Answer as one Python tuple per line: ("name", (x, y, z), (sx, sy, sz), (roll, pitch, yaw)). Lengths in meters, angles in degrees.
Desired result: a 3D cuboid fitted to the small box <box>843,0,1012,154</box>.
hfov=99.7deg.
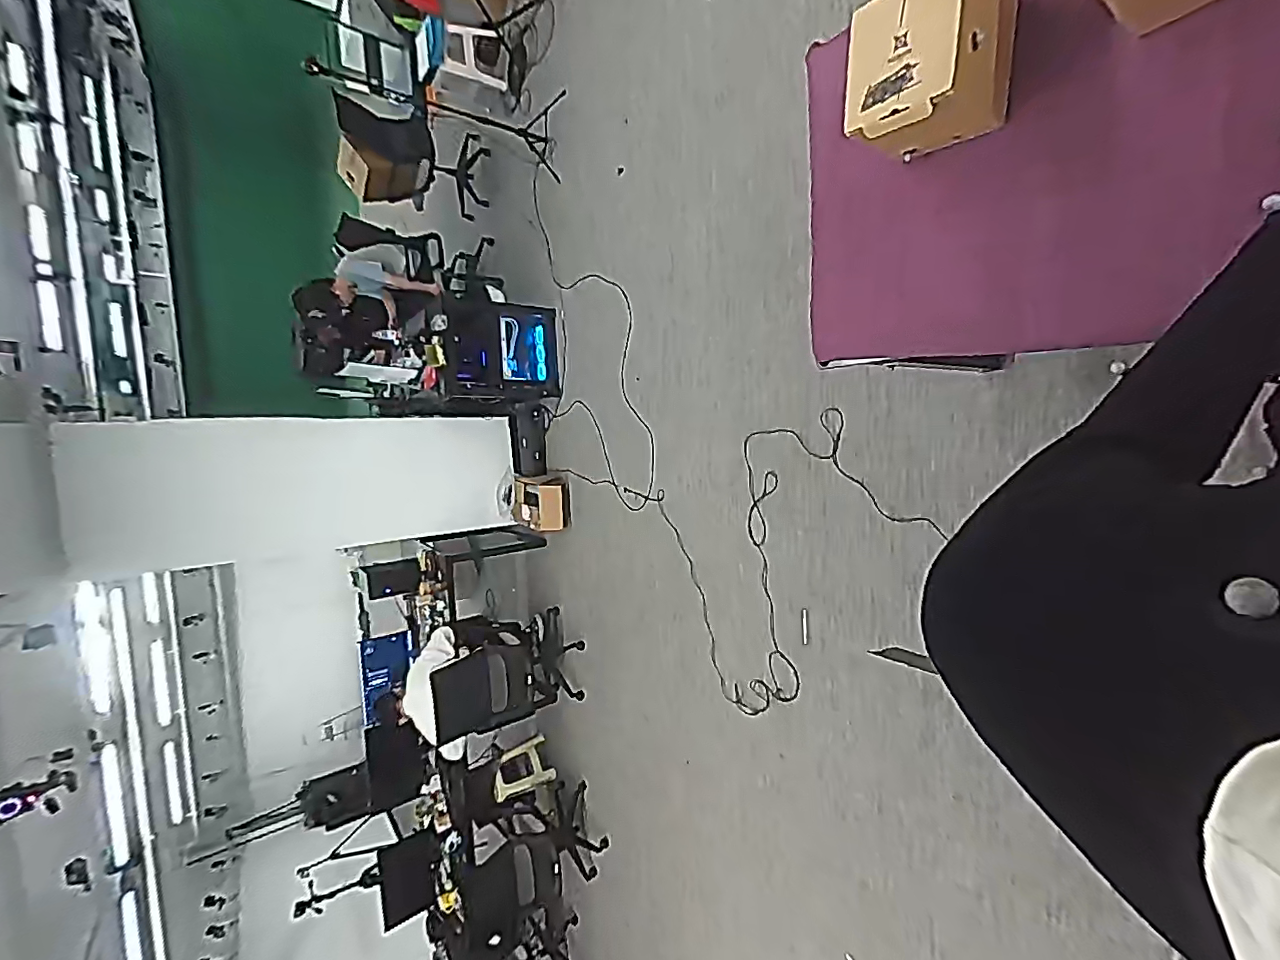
("small box", (0.430, -0.616, 0.812), (0.168, 0.176, 0.179), (13, 106, 52))
